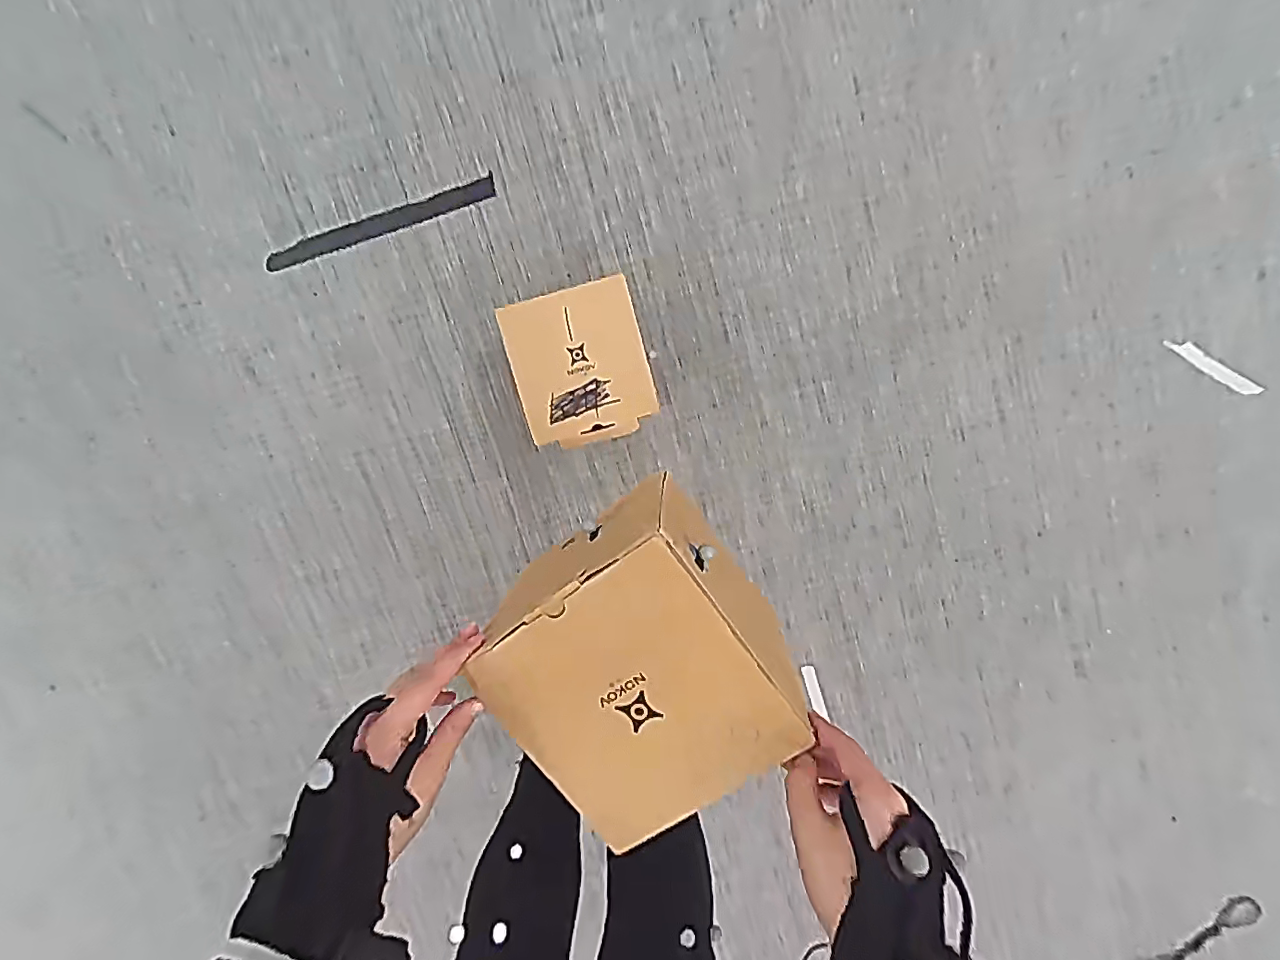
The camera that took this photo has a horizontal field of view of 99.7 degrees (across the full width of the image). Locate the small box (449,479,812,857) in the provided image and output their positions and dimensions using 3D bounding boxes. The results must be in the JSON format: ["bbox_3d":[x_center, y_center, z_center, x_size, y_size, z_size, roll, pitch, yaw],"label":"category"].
[{"bbox_3d":[0.000,0.123,0.413,0.168,0.176,0.179,-36,98,12],"label":"small box"}]

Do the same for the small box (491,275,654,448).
[{"bbox_3d":[-0.079,-0.154,0.735,0.168,0.176,0.179,-16,97,2],"label":"small box"}]
